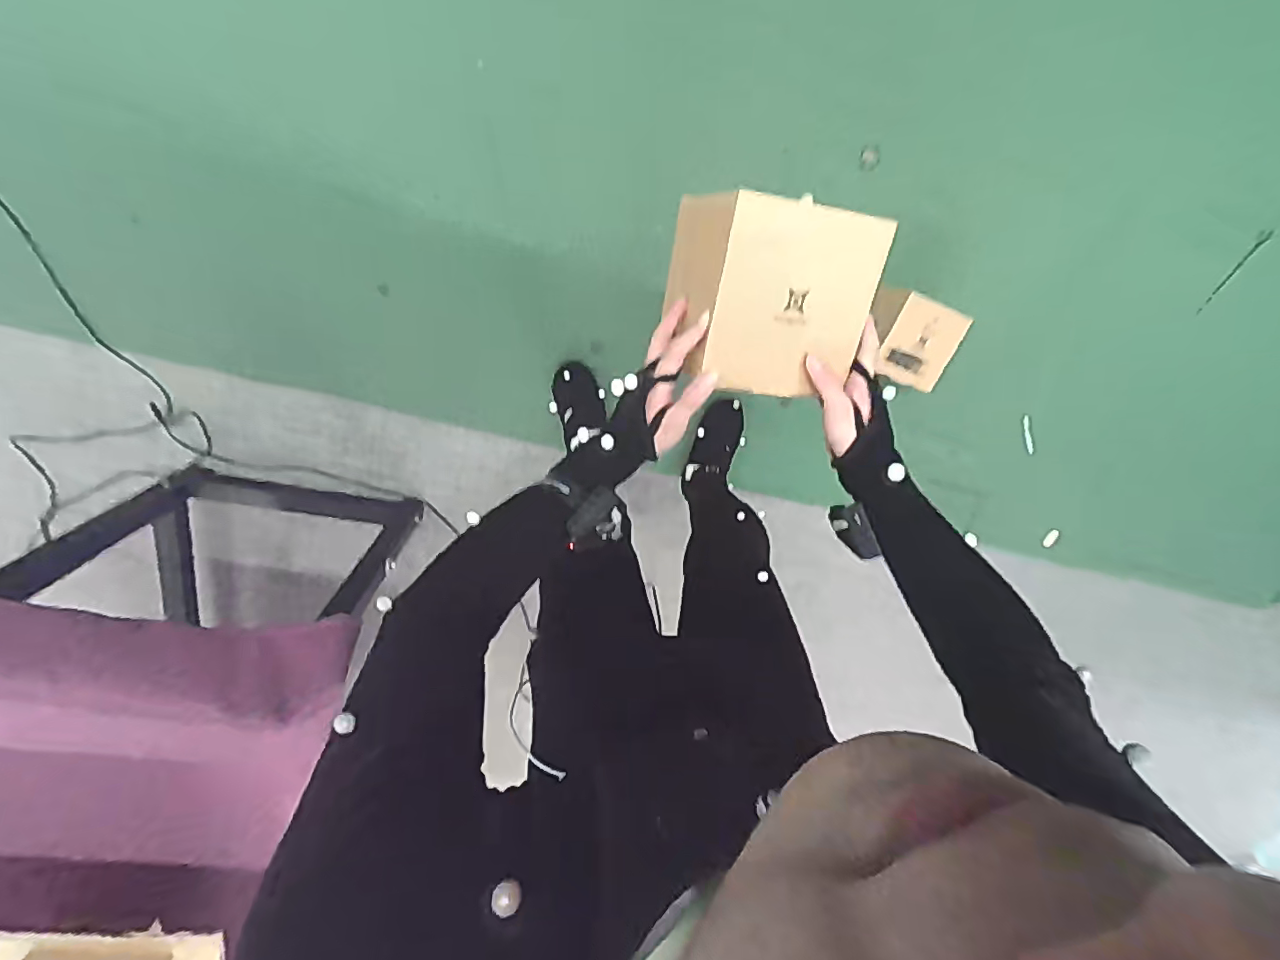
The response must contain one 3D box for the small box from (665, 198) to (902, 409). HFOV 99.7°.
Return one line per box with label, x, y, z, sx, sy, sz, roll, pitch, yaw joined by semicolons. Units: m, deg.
small box;0.134;-0.190;0.580;0.168;0.176;0.179;3;115;-15
